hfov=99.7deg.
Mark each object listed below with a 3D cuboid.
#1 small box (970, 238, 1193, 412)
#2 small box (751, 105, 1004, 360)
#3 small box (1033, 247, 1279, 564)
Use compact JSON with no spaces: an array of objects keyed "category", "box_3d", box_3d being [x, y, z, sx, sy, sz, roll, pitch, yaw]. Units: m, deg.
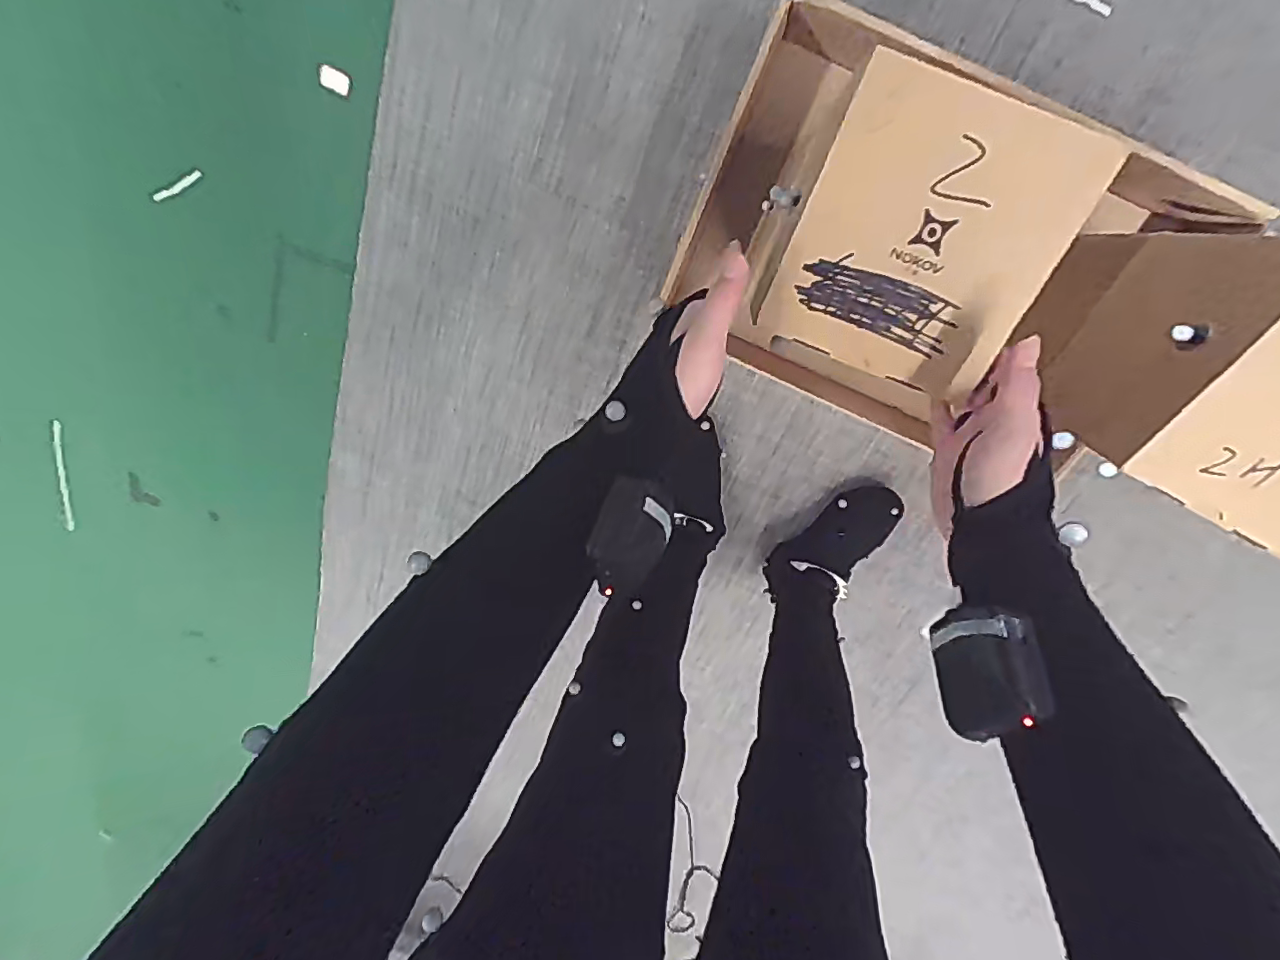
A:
[{"category":"small box","box_3d":[0.502,-0.141,0.580,0.168,0.176,0.179,27,117,-4]},{"category":"small box","box_3d":[0.225,-0.252,0.573,0.168,0.176,0.179,23,115,1]},{"category":"small box","box_3d":[0.476,-0.068,0.434,0.168,0.176,0.179,28,117,-3]}]
